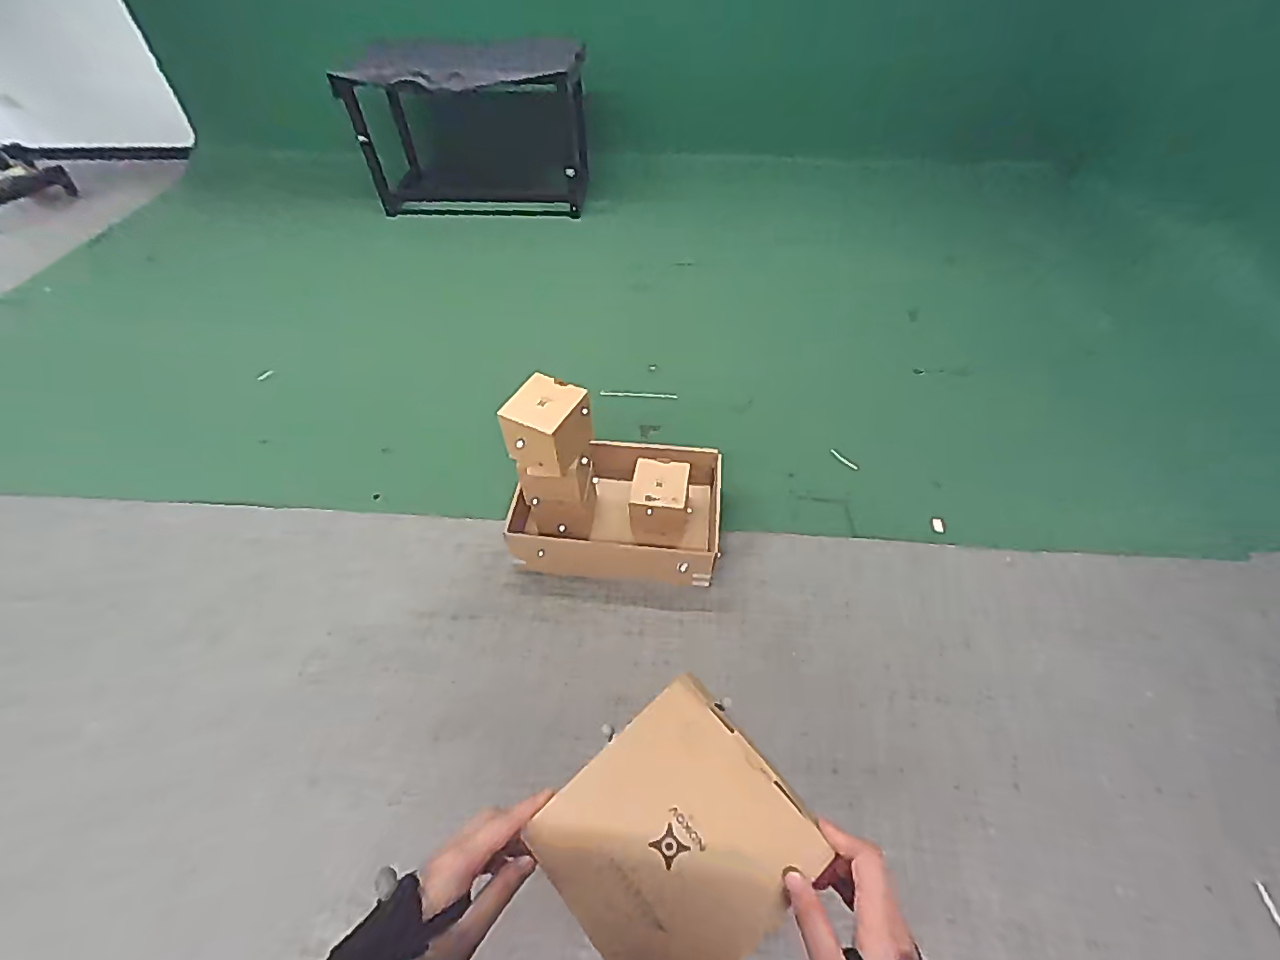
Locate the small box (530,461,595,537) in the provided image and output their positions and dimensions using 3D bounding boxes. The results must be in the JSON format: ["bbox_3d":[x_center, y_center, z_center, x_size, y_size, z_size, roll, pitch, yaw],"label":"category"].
[{"bbox_3d":[-0.233,0.053,1.676,0.168,0.176,0.179,3,51,3],"label":"small box"}]

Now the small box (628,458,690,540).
[{"bbox_3d":[0.059,0.060,1.668,0.168,0.176,0.179,7,51,8],"label":"small box"}]

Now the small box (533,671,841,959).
[{"bbox_3d":[0.039,0.288,0.479,0.179,0.176,0.168,-42,72,-8],"label":"small box"}]

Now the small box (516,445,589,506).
[{"bbox_3d":[-0.242,-0.044,1.544,0.168,0.176,0.179,4,50,3],"label":"small box"}]

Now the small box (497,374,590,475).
[{"bbox_3d":[-0.241,-0.142,1.414,0.168,0.176,0.179,22,53,17],"label":"small box"}]
